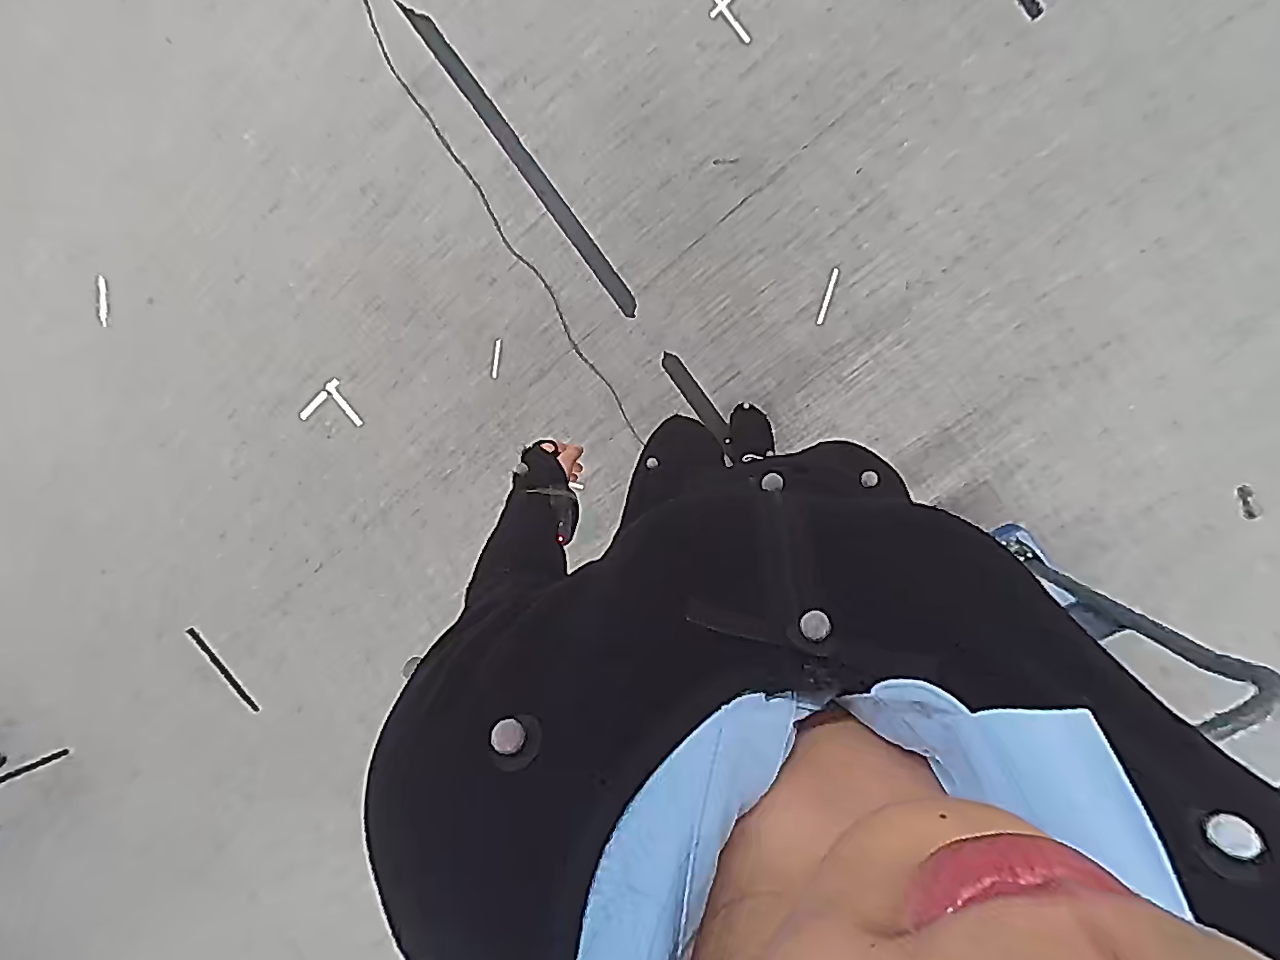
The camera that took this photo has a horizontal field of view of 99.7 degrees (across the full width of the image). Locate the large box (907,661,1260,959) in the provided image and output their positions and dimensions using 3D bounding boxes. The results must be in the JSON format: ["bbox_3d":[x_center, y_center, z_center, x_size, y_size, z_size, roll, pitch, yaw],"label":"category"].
[{"bbox_3d":[0.859,0.654,1.122,0.408,0.320,0.320,-33,92,12],"label":"large box"}]
